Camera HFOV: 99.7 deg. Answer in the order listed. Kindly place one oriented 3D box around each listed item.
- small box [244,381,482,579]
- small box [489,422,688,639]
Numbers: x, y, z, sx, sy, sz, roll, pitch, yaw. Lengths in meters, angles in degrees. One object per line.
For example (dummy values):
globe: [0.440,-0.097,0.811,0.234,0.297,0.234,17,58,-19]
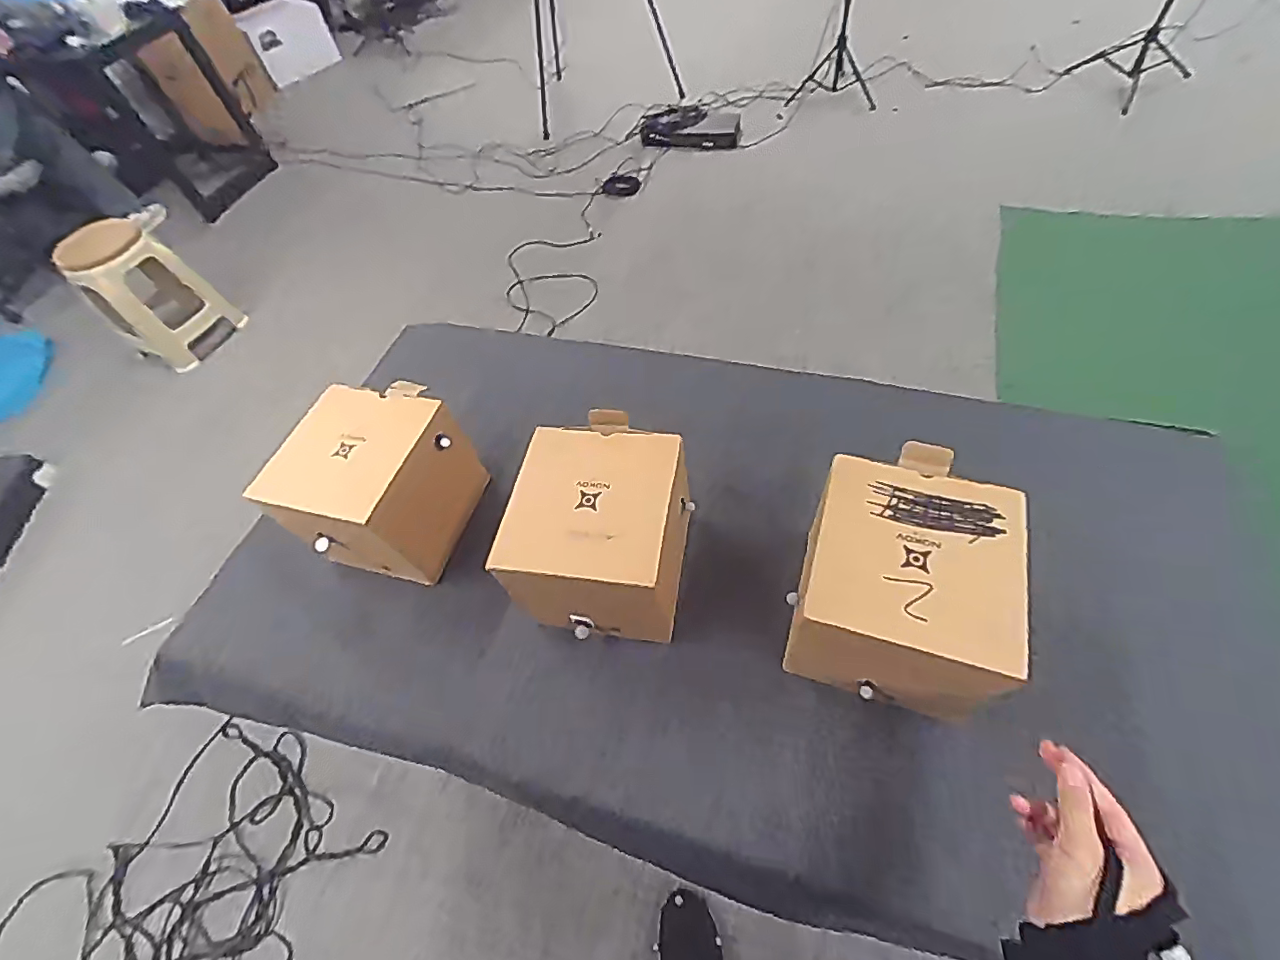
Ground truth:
small box: [-0.324,0.004,0.678,0.168,0.176,0.179,9,57,14]
small box: [-0.040,0.057,0.601,0.168,0.176,0.179,3,57,12]
